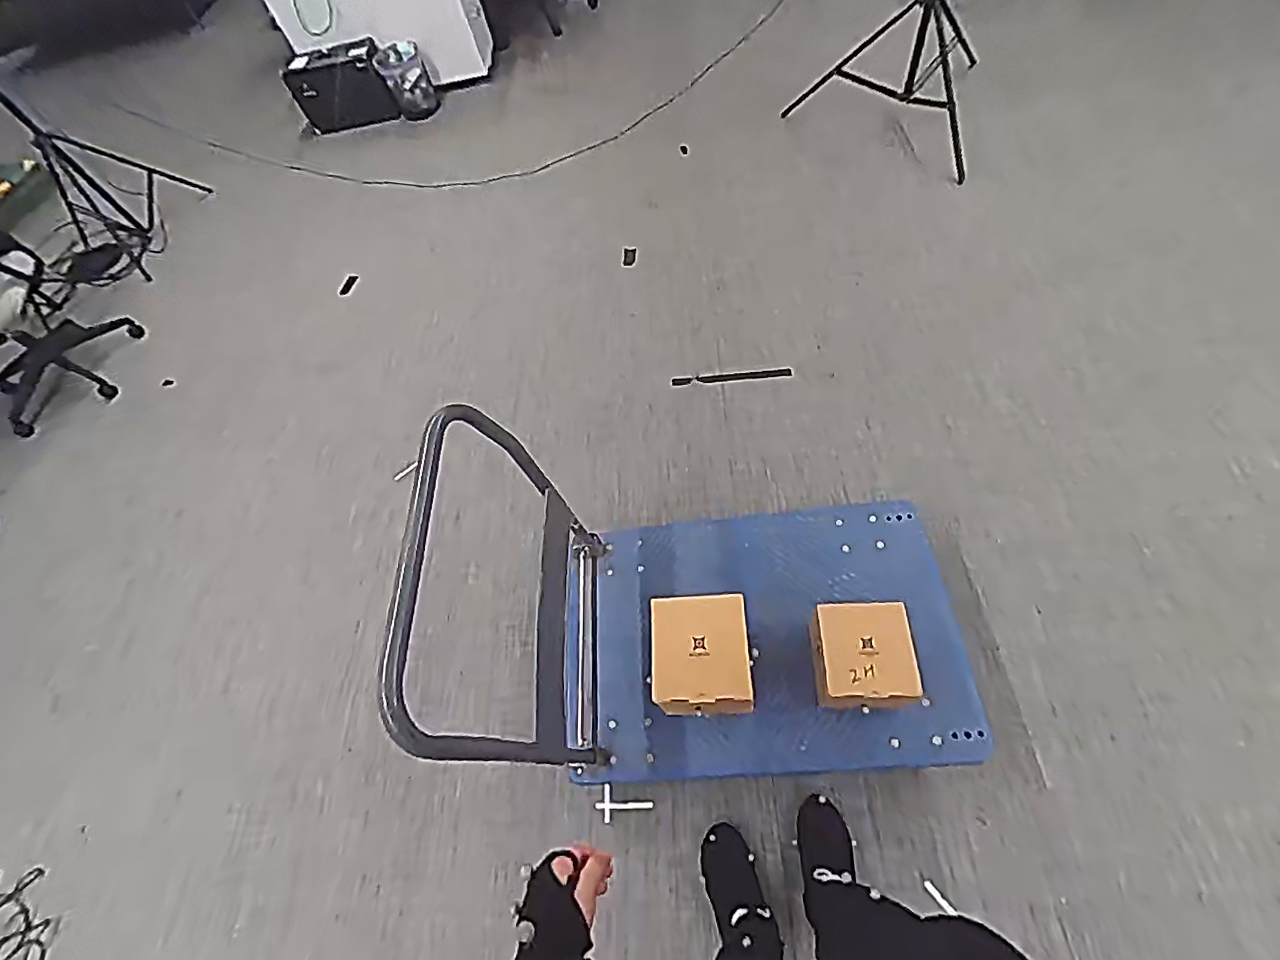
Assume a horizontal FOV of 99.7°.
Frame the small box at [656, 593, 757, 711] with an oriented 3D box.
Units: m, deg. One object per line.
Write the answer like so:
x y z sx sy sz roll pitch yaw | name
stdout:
0.119 0.318 0.988 0.168 0.176 0.179 -5 61 8 | small box

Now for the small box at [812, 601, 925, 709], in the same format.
0.449 0.356 1.093 0.168 0.176 0.179 -4 60 10 | small box
